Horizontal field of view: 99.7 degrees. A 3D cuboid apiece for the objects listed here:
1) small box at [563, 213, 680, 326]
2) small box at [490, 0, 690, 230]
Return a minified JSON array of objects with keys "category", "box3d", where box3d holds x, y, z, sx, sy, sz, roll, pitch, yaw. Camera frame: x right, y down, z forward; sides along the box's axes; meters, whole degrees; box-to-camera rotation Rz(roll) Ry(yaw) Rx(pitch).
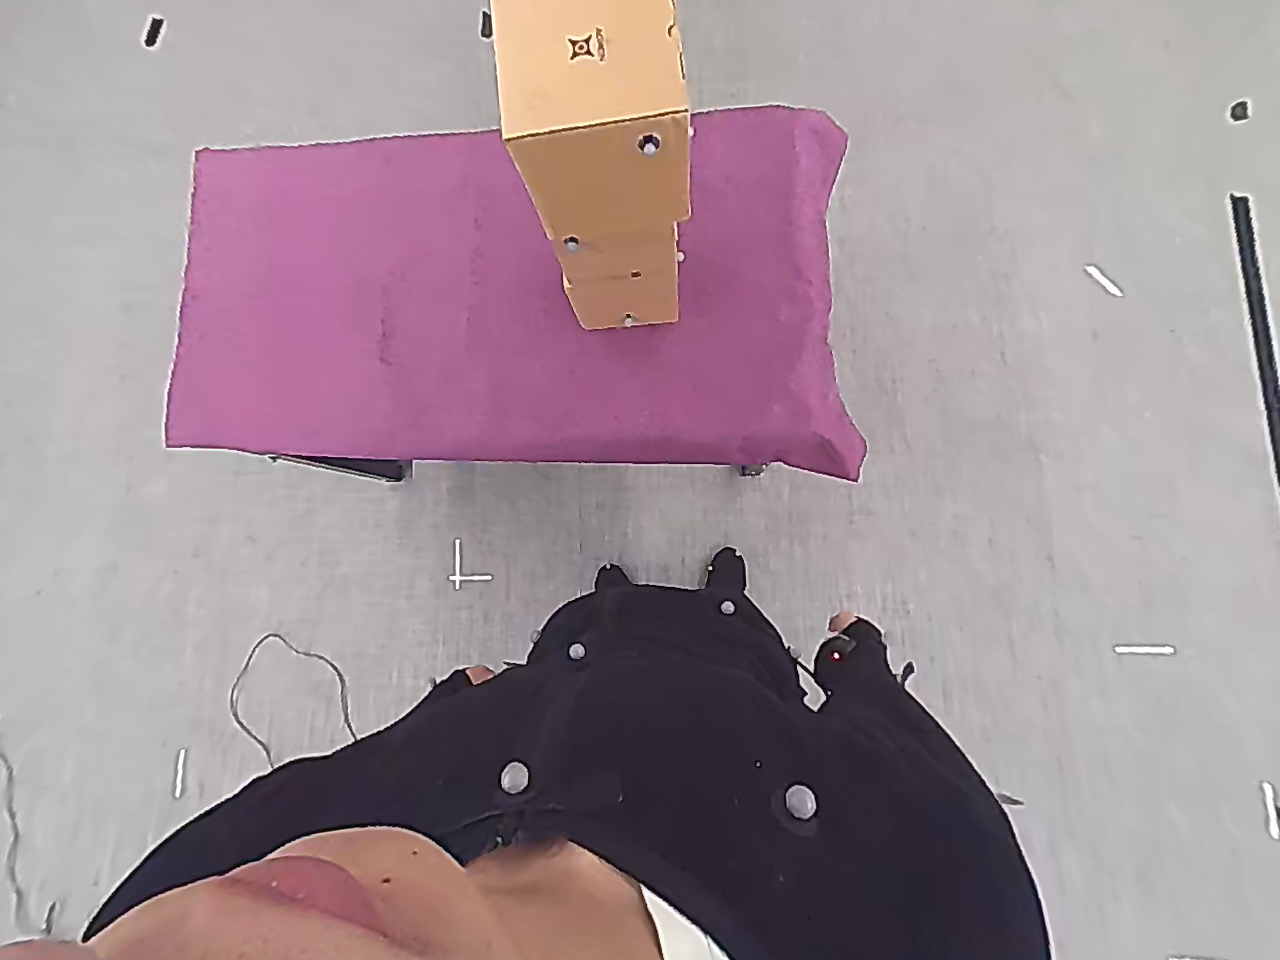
[{"category":"small box","box3d":[-0.027,-0.369,0.897,0.179,0.176,0.168,-4,83,3]},{"category":"small box","box3d":[-0.041,-0.390,0.570,0.179,0.176,0.168,-7,82,3]}]
